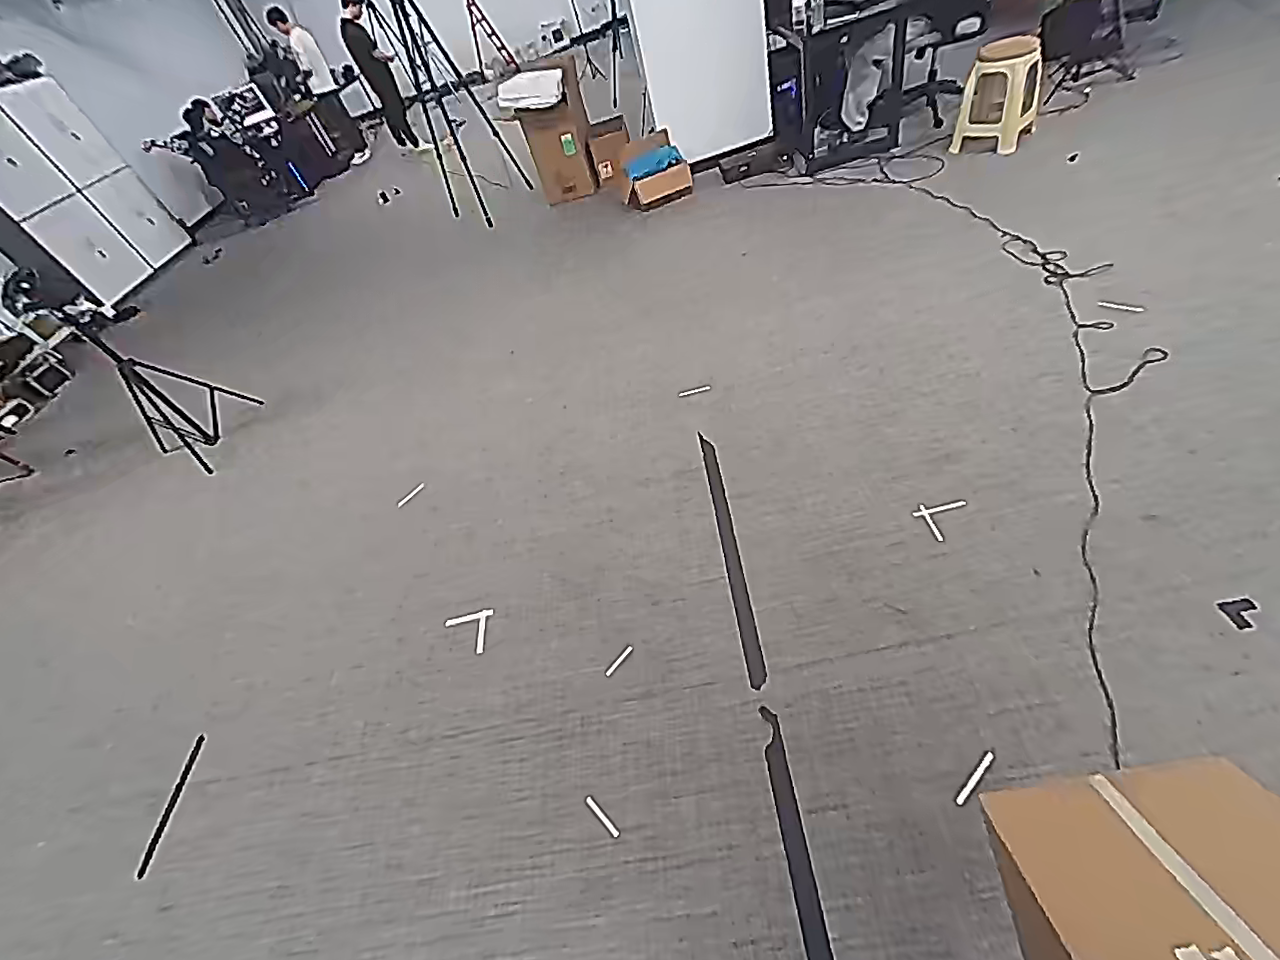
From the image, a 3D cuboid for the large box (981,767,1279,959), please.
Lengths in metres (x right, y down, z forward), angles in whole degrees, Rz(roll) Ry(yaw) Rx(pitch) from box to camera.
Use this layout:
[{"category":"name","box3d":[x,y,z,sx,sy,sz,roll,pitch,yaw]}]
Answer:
[{"category":"large box","box3d":[0.650,0.599,0.578,0.320,0.320,0.408,-18,6,12]}]
